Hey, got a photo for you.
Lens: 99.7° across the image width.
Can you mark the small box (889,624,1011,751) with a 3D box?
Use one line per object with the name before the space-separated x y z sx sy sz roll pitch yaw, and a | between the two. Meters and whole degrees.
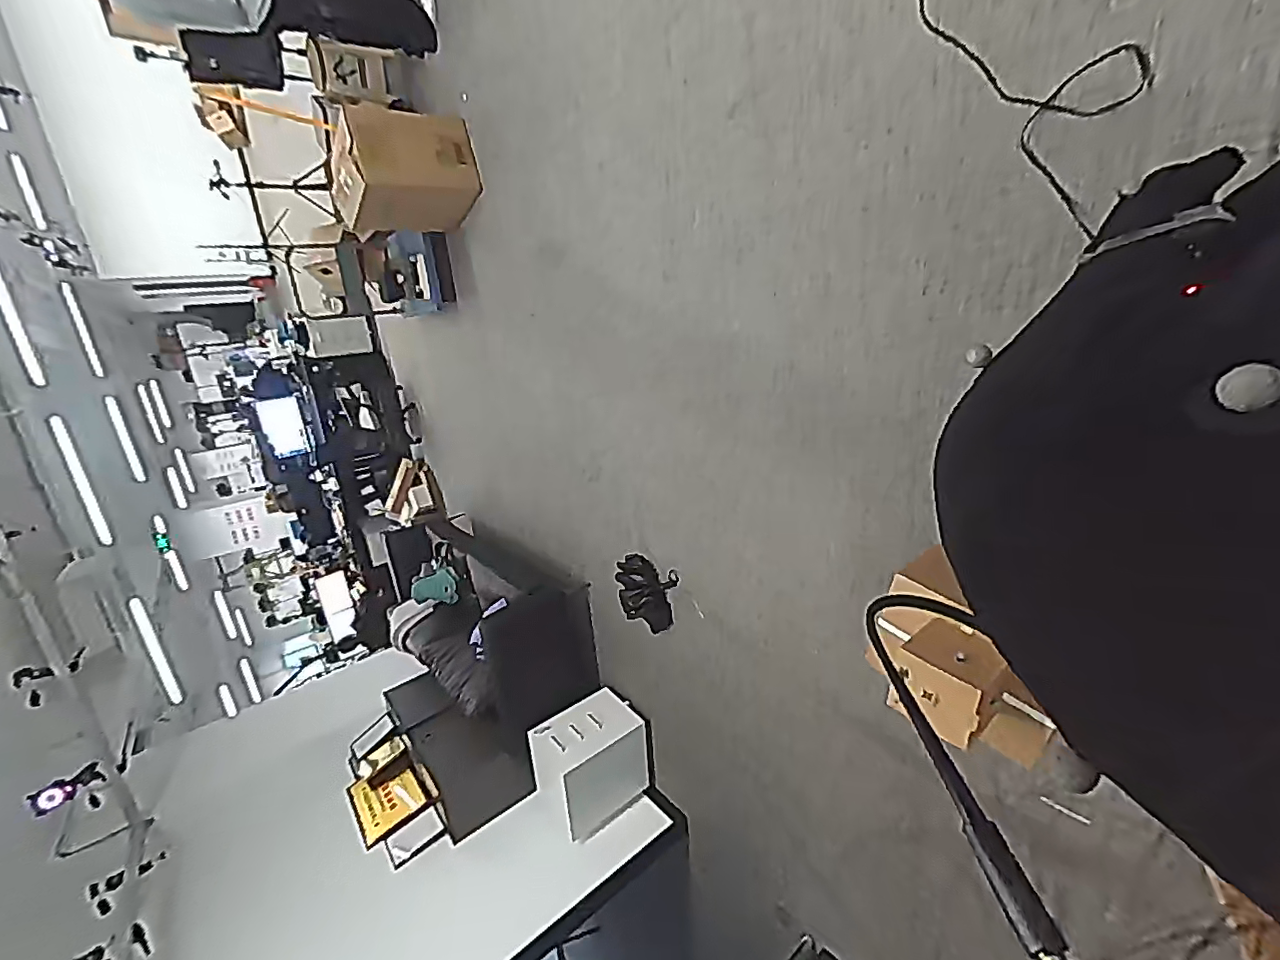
small box | 0.688 0.448 1.201 0.179 0.176 0.168 24 123 46
